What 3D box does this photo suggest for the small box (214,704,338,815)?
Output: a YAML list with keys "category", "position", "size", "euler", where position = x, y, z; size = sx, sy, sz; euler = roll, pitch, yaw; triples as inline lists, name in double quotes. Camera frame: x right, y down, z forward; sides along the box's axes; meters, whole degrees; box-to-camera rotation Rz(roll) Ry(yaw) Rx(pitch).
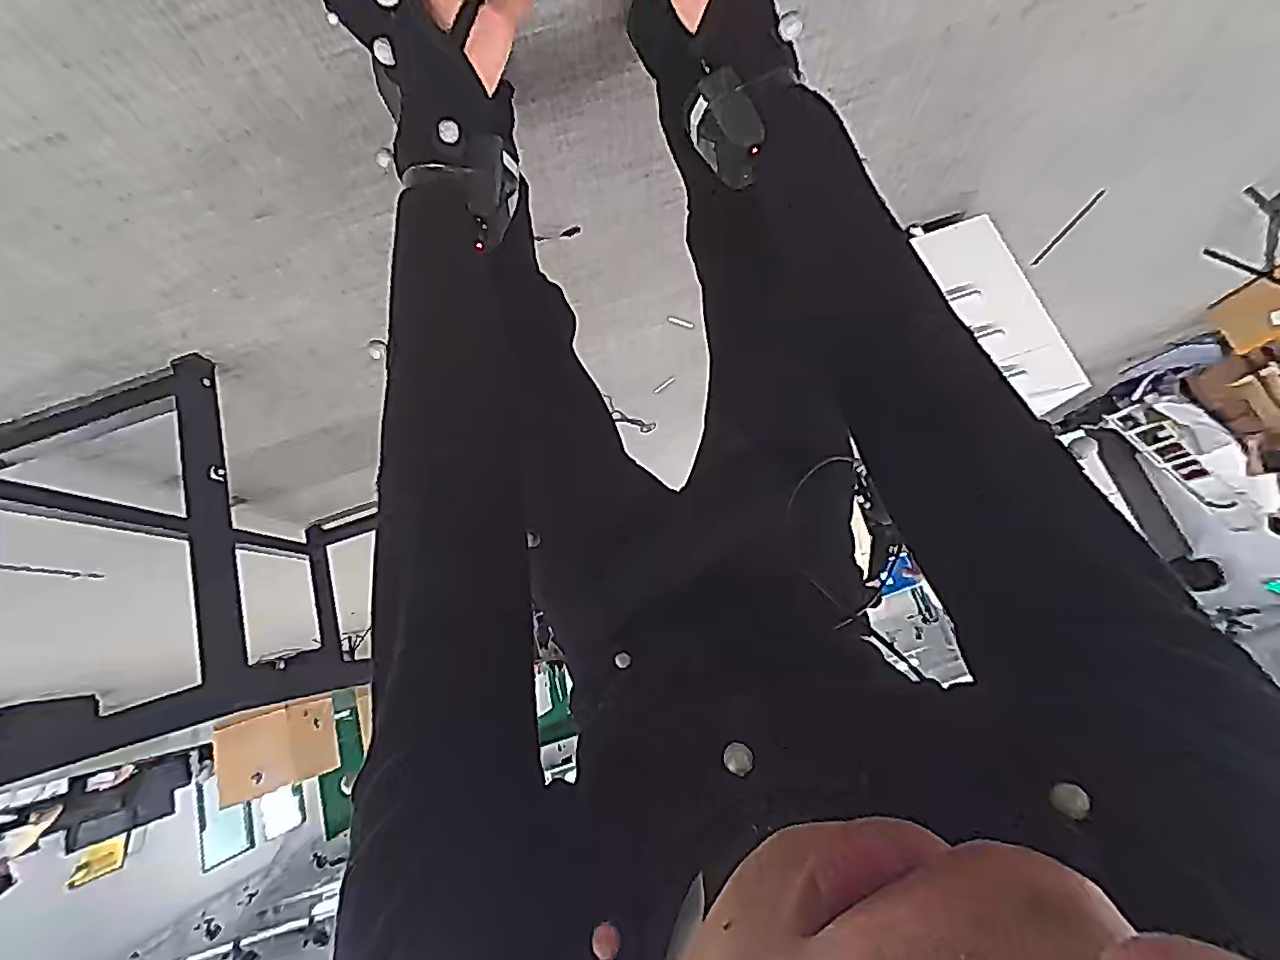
- category: "small box"
  position: [-0.832, 0.629, 1.239]
  size: [0.179, 0.176, 0.168]
  euler: [-19, 164, 0]
